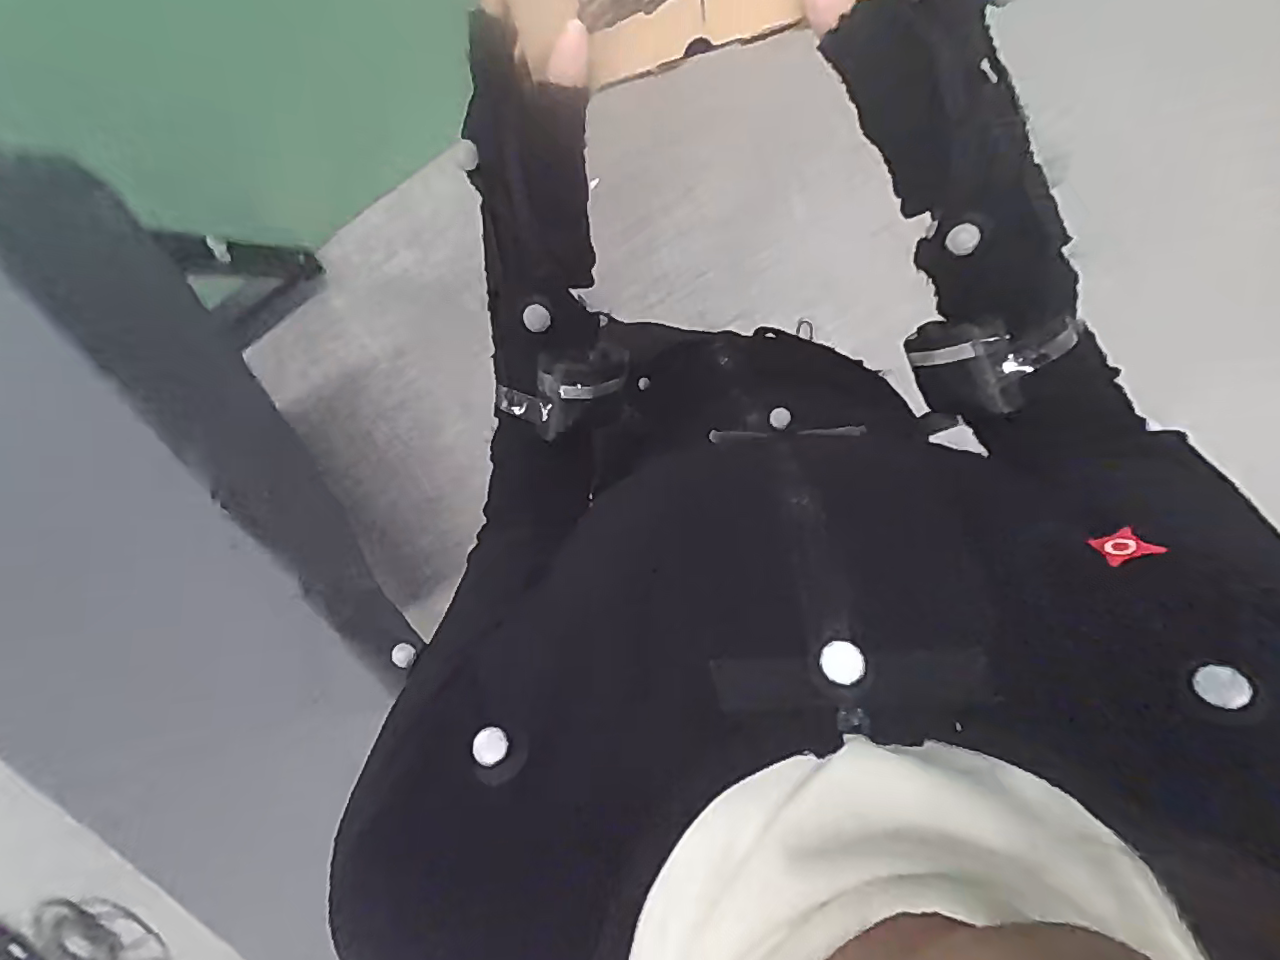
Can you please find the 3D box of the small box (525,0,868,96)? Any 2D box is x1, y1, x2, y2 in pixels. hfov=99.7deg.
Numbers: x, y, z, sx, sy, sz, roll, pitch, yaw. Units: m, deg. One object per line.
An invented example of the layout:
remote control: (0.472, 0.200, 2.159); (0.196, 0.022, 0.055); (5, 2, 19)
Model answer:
small box: (0.015, -0.330, 0.269); (0.168, 0.176, 0.179); (-10, 134, 10)
